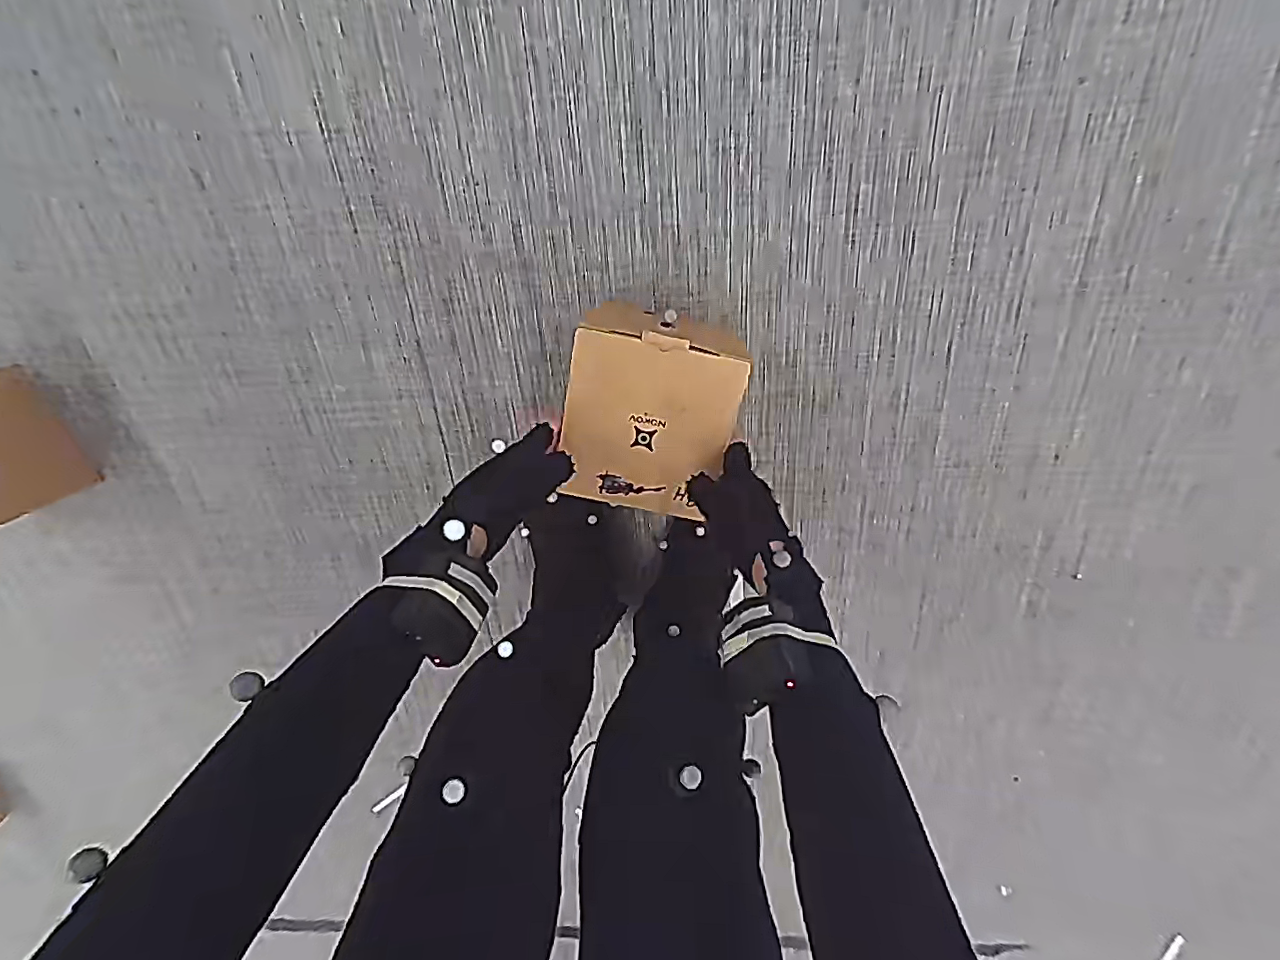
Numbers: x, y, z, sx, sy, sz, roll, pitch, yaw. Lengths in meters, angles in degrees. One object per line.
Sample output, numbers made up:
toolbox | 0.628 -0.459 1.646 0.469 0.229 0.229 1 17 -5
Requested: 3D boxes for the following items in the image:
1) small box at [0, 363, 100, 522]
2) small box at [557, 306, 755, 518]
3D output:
small box | -0.864 -0.030 0.680 0.168 0.176 0.179 -13 112 9
small box | 0.014 -0.085 0.602 0.168 0.176 0.179 12 114 -2
